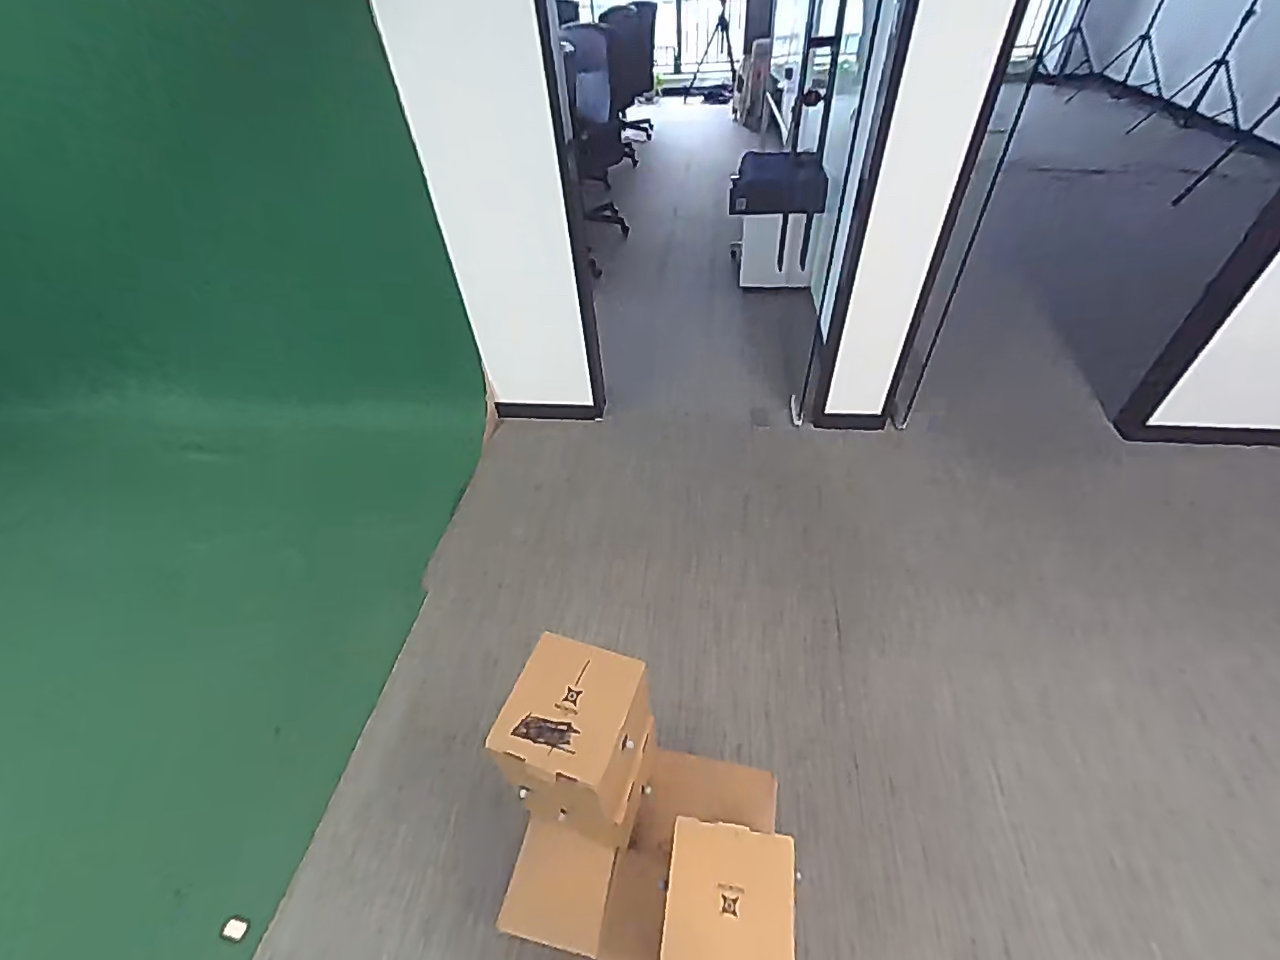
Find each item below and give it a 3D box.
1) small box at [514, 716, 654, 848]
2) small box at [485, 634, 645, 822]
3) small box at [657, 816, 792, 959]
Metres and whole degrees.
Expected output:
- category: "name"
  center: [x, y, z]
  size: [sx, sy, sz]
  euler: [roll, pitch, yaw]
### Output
- category: "small box"
  center: [-0.082, 0.483, 0.901]
  size: [0.179, 0.176, 0.168]
  euler: [12, 47, 14]
- category: "small box"
  center: [-0.094, 0.363, 0.789]
  size: [0.168, 0.176, 0.179]
  euler: [13, 45, 16]
- category: "small box"
  center: [0.119, 0.606, 0.760]
  size: [0.168, 0.176, 0.179]
  euler: [5, 45, 9]
